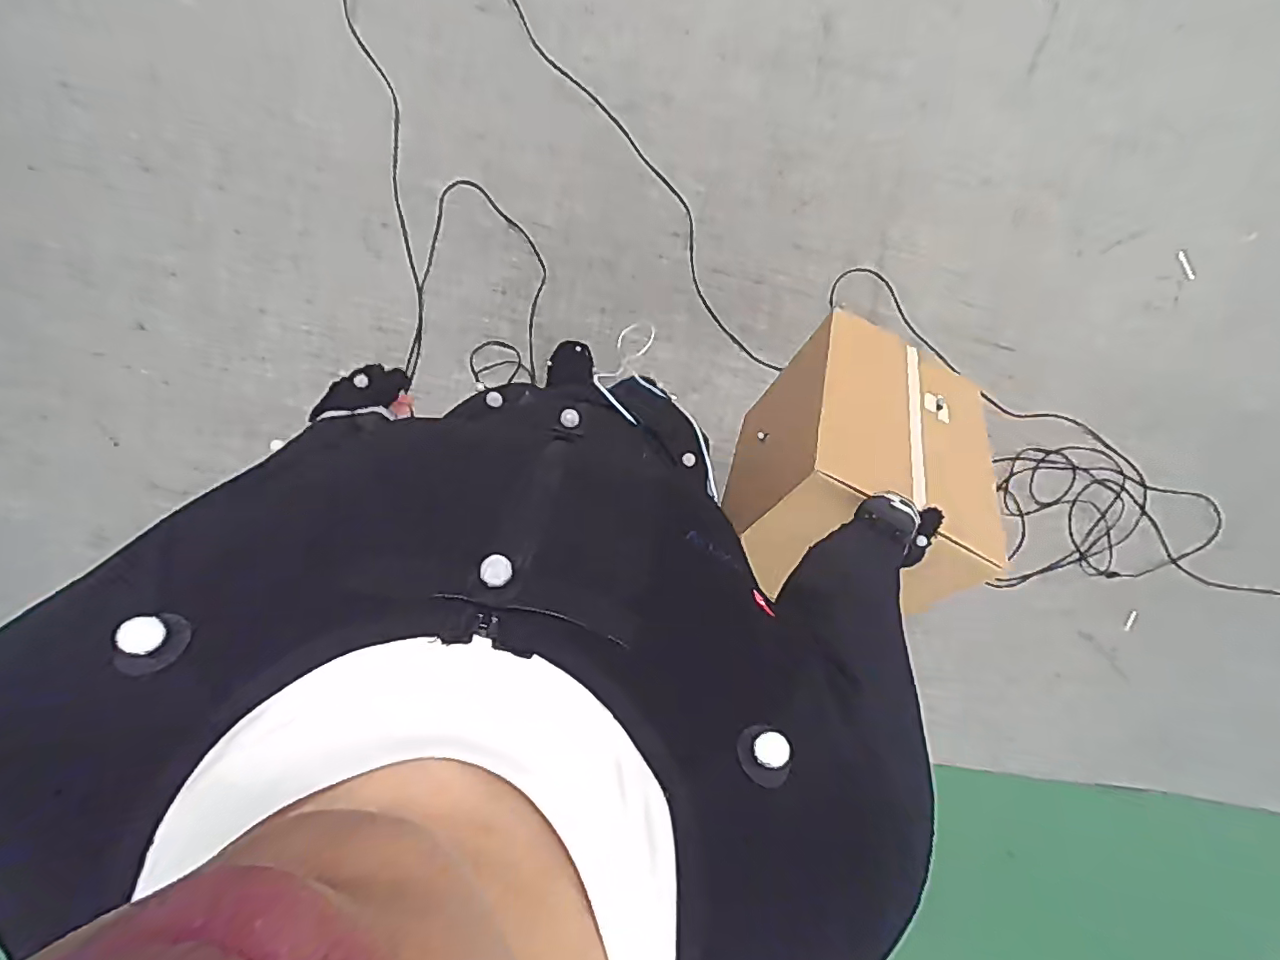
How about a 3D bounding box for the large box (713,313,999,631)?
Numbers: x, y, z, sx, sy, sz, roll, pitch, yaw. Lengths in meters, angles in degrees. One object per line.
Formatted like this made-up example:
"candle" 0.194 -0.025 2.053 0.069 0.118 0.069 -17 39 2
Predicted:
"large box" 0.362 -0.008 0.966 0.320 0.408 0.320 28 141 -7
